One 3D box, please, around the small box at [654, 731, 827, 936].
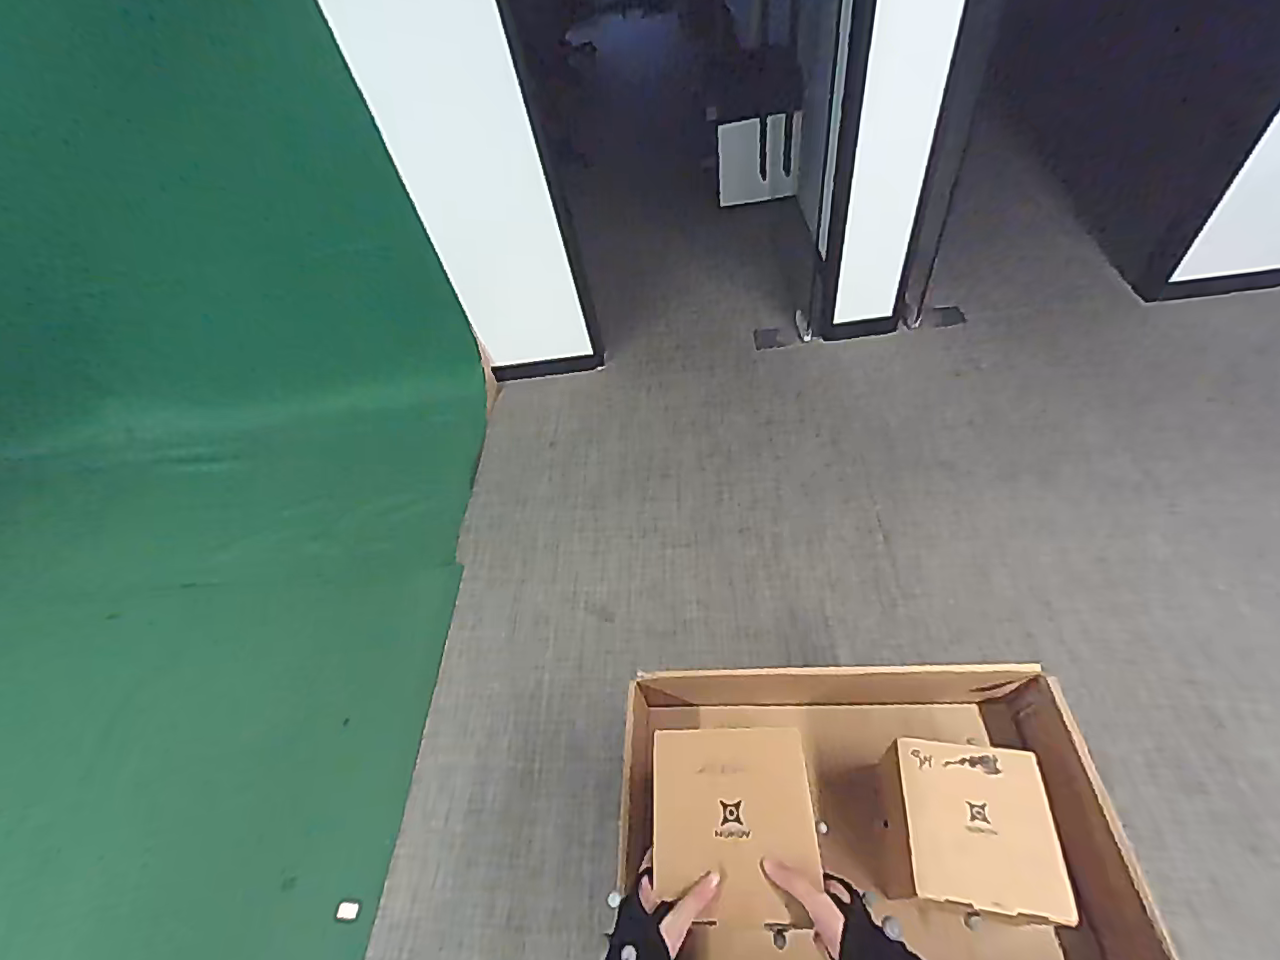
[{"bbox_3d":[0.112,0.402,0.616,0.168,0.176,0.179,-6,49,10],"label":"small box"}]
